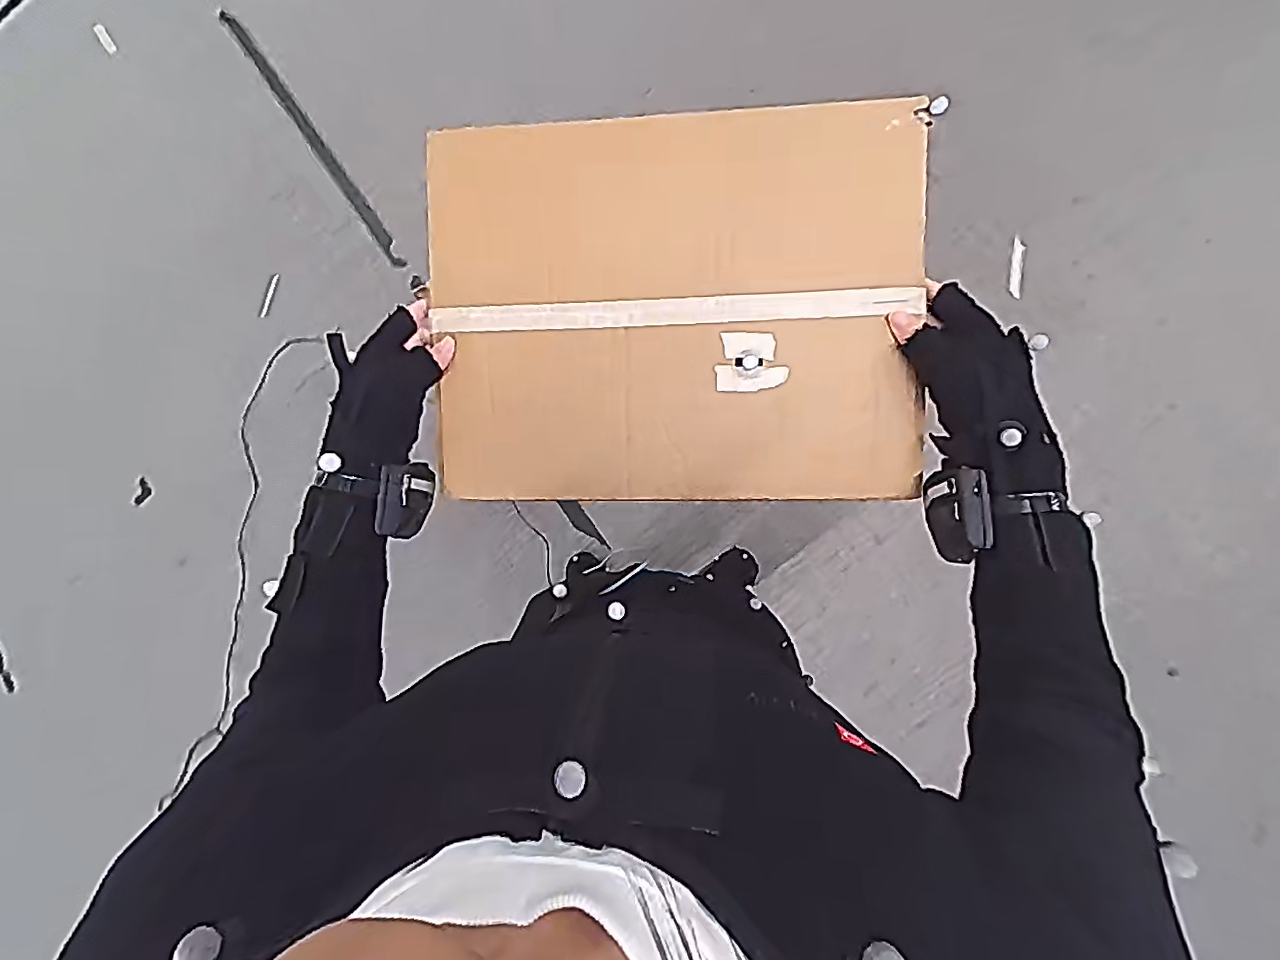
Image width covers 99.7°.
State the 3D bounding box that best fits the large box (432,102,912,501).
[{"bbox_3d":[0.034,-0.152,0.608,0.408,0.320,0.320,-2,94,5],"label":"large box"}]
